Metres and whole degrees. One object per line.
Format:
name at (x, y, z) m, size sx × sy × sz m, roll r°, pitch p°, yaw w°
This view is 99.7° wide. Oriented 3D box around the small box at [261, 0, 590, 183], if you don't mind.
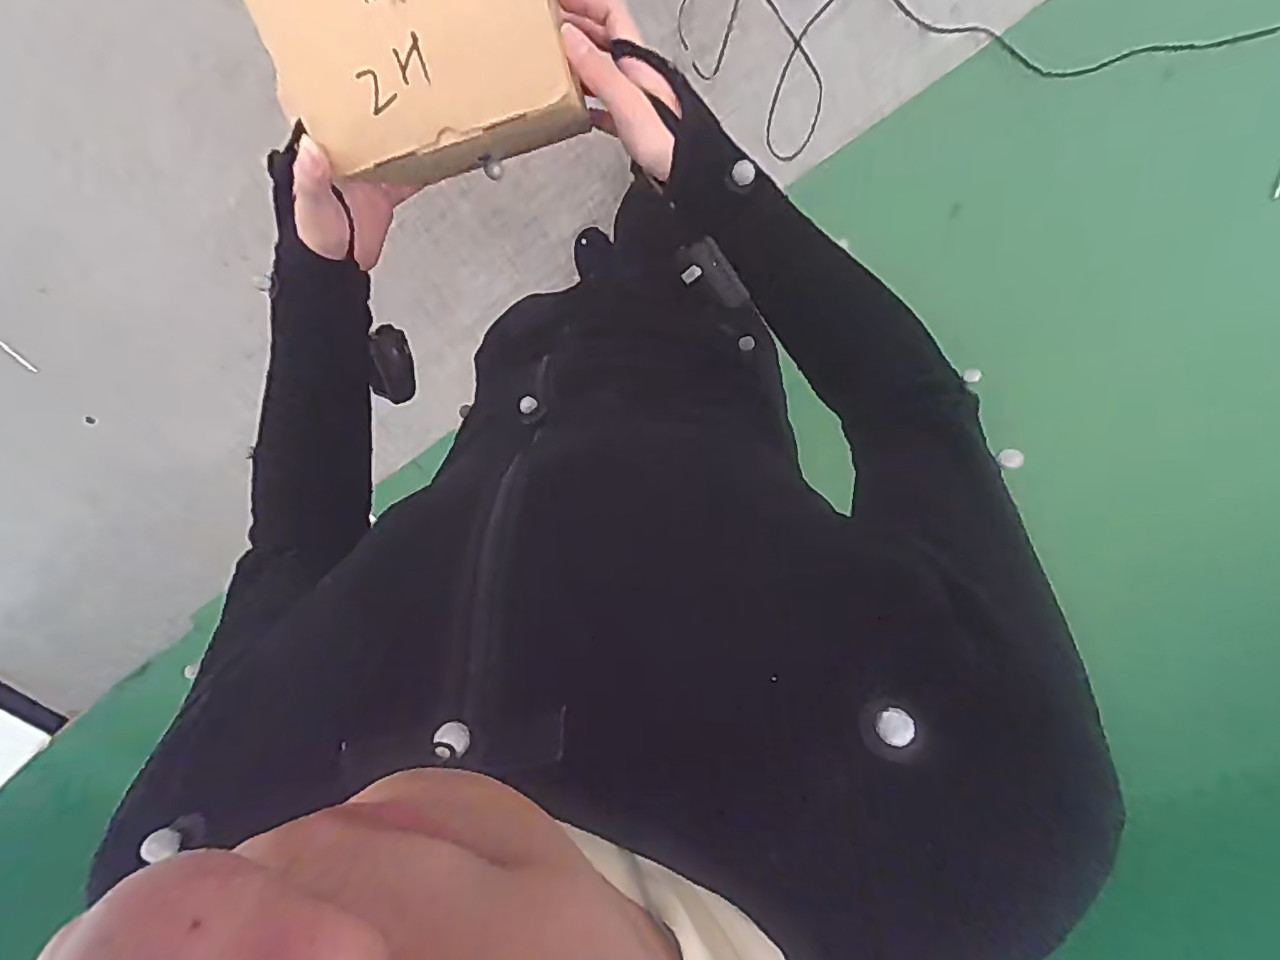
small box at (-0.138, -0.324, 0.377) m, size 0.168 × 0.176 × 0.179 m, roll -13°, pitch 118°, yaw 6°
